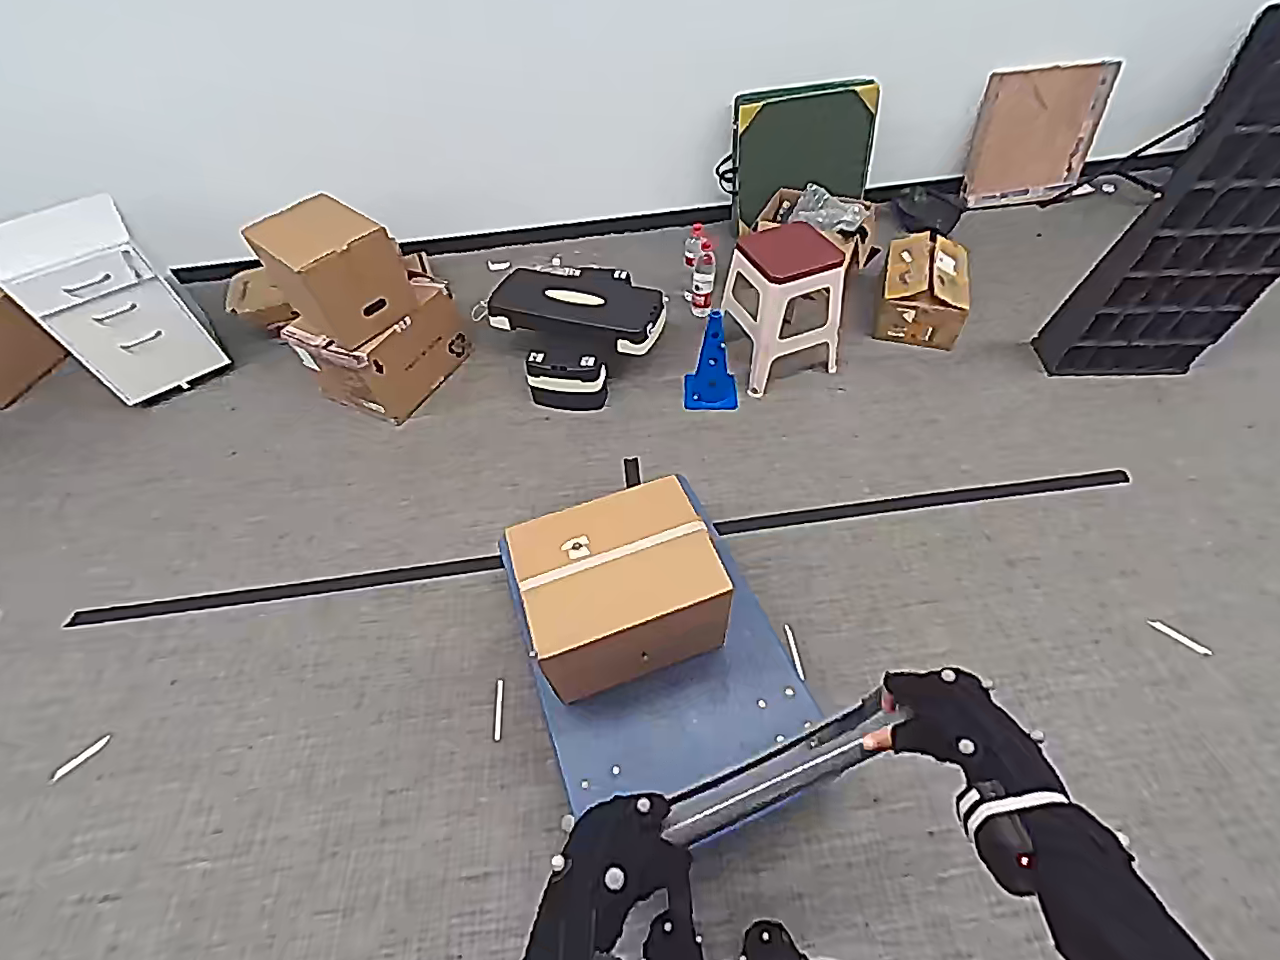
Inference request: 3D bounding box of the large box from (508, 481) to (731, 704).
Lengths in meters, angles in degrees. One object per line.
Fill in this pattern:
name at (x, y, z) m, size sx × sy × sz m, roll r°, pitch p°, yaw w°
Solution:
large box at (-0.043, 0.263, 1.251) m, size 0.408 × 0.320 × 0.320 m, roll -19°, pitch 53°, yaw -9°
